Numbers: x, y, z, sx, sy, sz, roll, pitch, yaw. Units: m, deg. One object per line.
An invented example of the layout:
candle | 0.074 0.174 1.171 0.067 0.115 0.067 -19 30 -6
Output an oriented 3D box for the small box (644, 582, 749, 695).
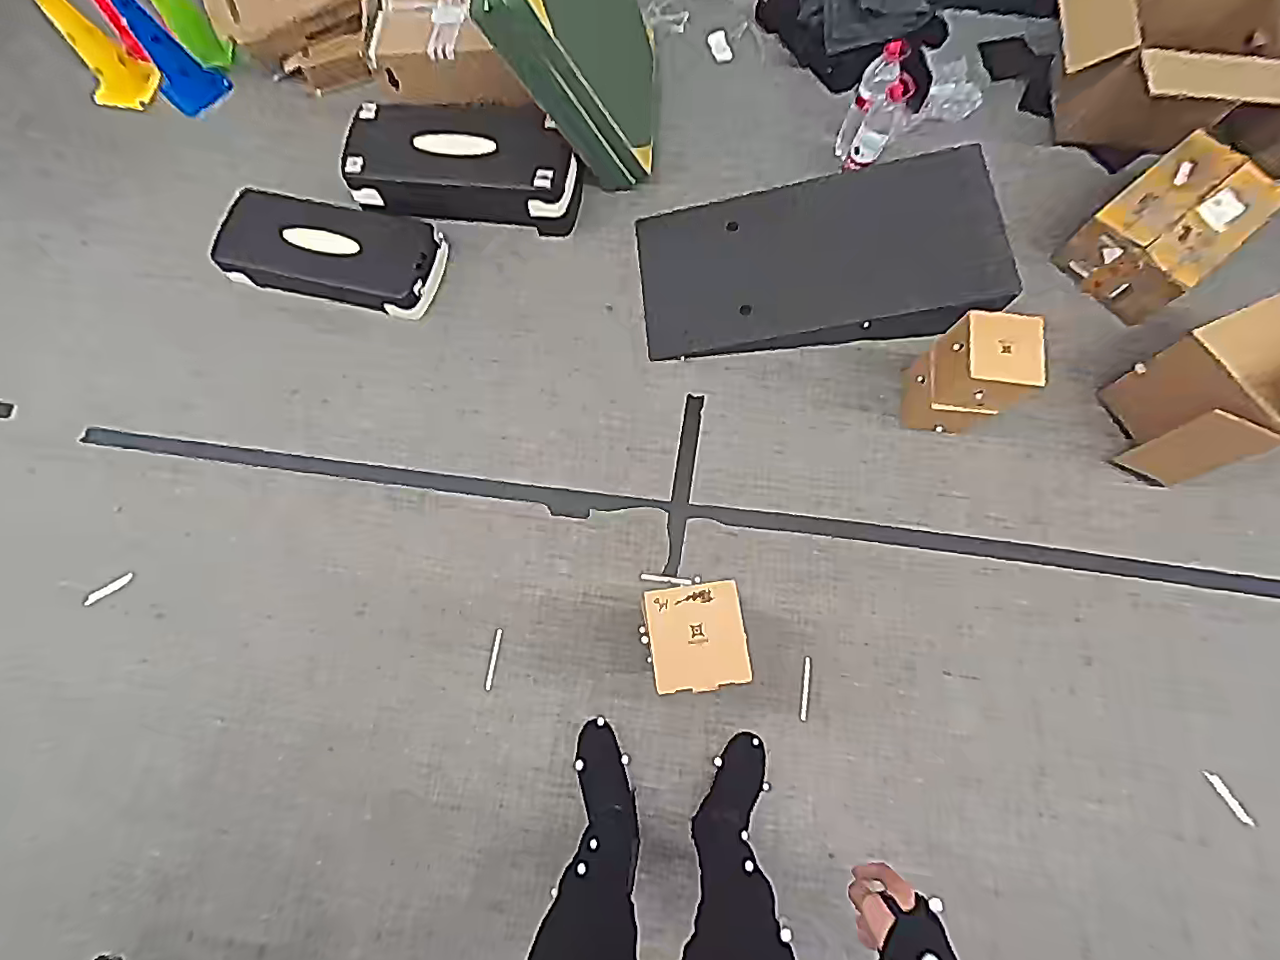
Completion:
small box | 0.100 0.291 1.019 0.168 0.176 0.179 -7 76 -1
